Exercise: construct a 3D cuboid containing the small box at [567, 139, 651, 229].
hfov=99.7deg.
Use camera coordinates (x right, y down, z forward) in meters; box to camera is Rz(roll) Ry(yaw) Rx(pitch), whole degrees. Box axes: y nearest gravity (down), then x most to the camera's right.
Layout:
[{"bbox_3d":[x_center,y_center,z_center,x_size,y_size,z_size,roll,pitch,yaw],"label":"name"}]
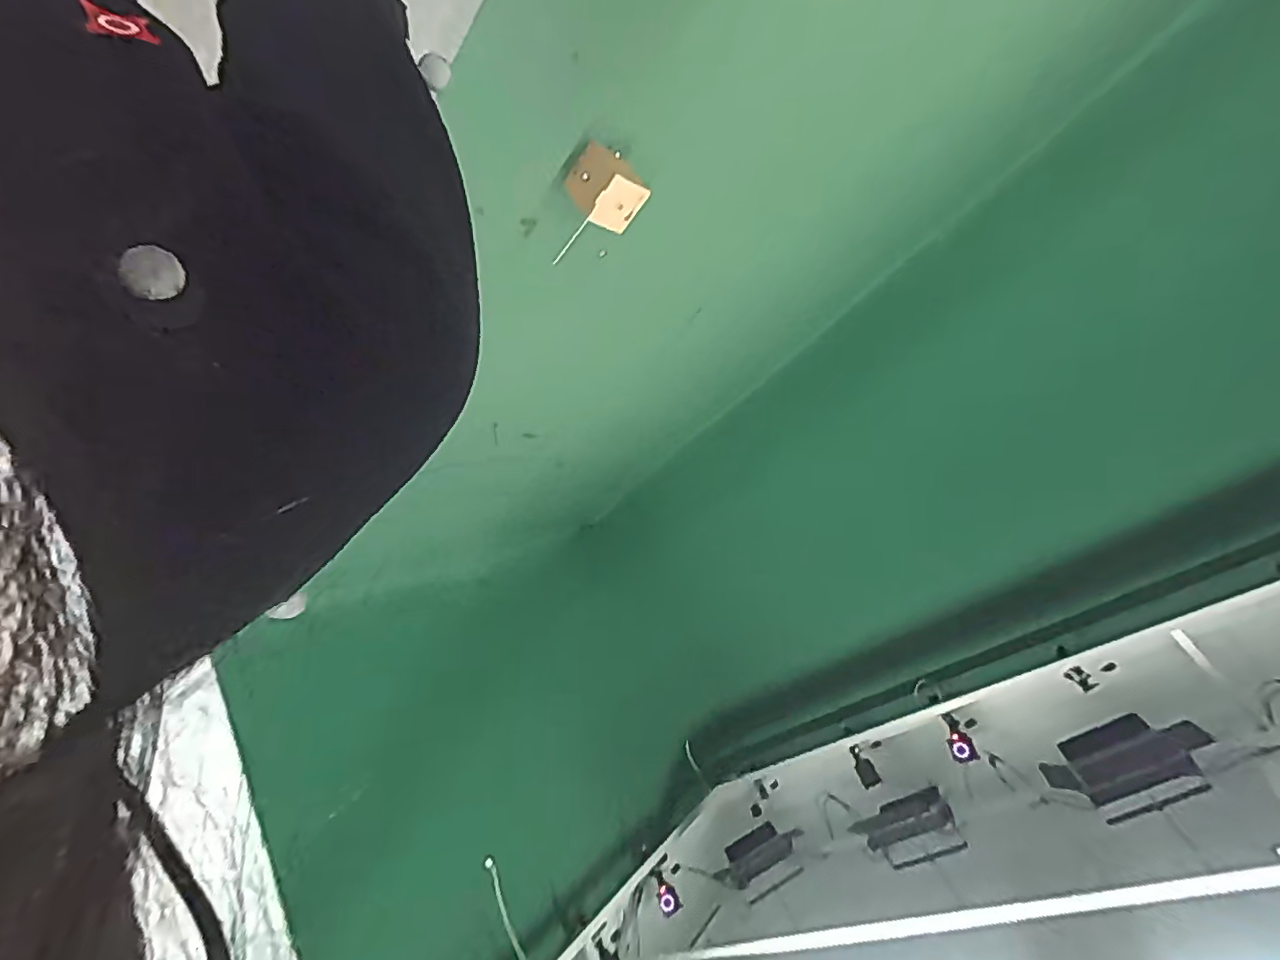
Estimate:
[{"bbox_3d":[-0.104,-0.950,1.733,0.168,0.176,0.179,-41,160,33],"label":"small box"}]
